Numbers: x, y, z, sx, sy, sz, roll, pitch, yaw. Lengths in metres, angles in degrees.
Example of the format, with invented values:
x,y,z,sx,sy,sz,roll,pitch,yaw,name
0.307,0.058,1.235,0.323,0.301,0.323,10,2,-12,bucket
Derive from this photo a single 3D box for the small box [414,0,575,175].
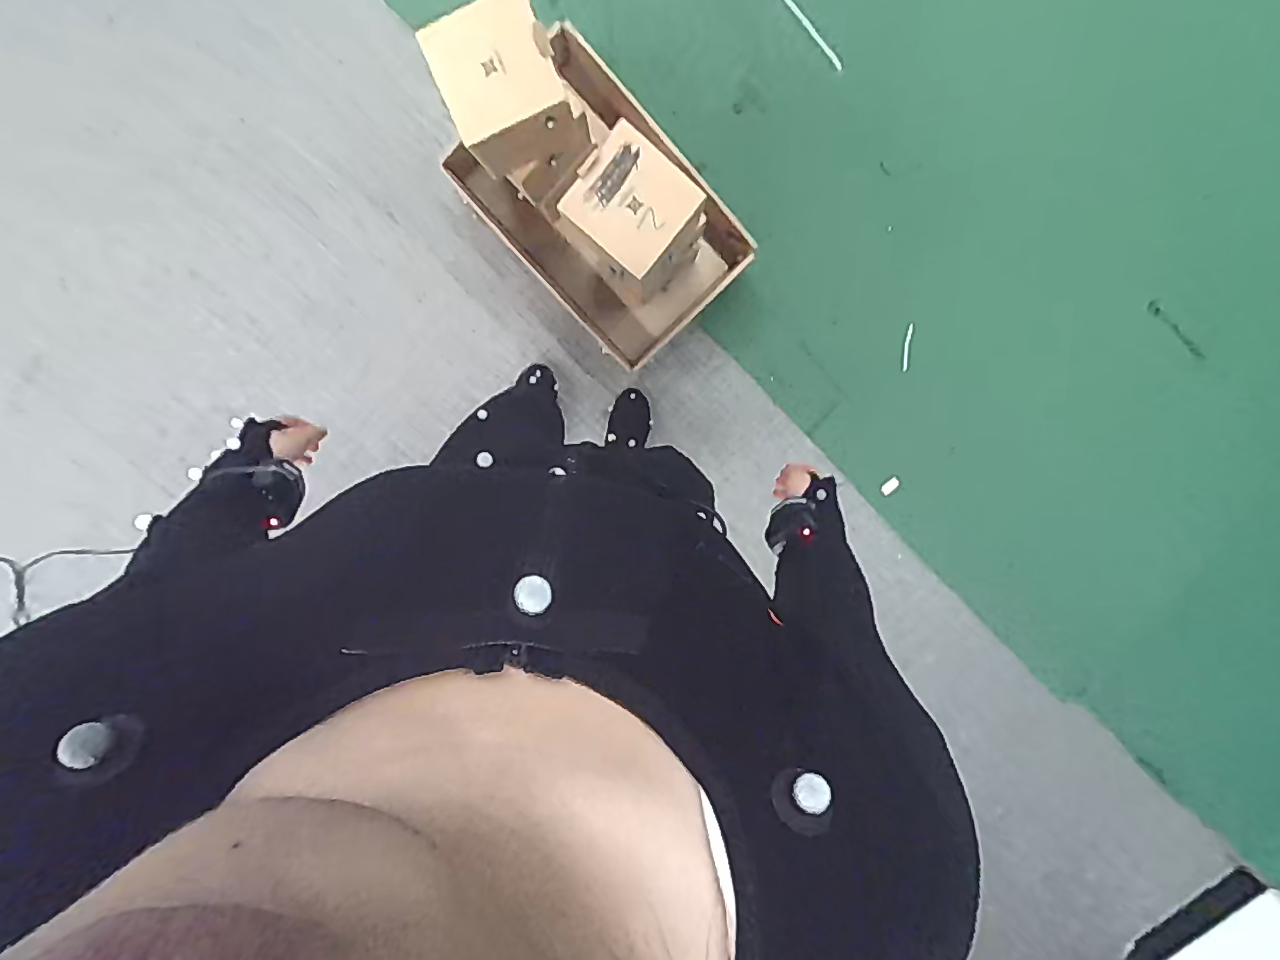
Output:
x,y,z,sx,sy,sz,roll,pitch,yaw,name
-0.220,-0.626,0.870,0.179,0.176,0.168,-22,103,4,small box

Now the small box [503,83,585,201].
x,y,z,sx,sy,sz,roll,pitch,yaw,name
-0.219,-0.670,1.026,0.179,0.176,0.168,-44,101,8,small box

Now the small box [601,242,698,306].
x,y,z,sx,sy,sz,roll,pitch,yaw,name
0.008,-0.522,1.234,0.179,0.176,0.168,-39,99,8,small box

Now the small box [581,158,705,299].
x,y,z,sx,sy,sz,roll,pitch,yaw,name
0.006,-0.485,1.075,0.168,0.176,0.179,40,102,-6,small box
